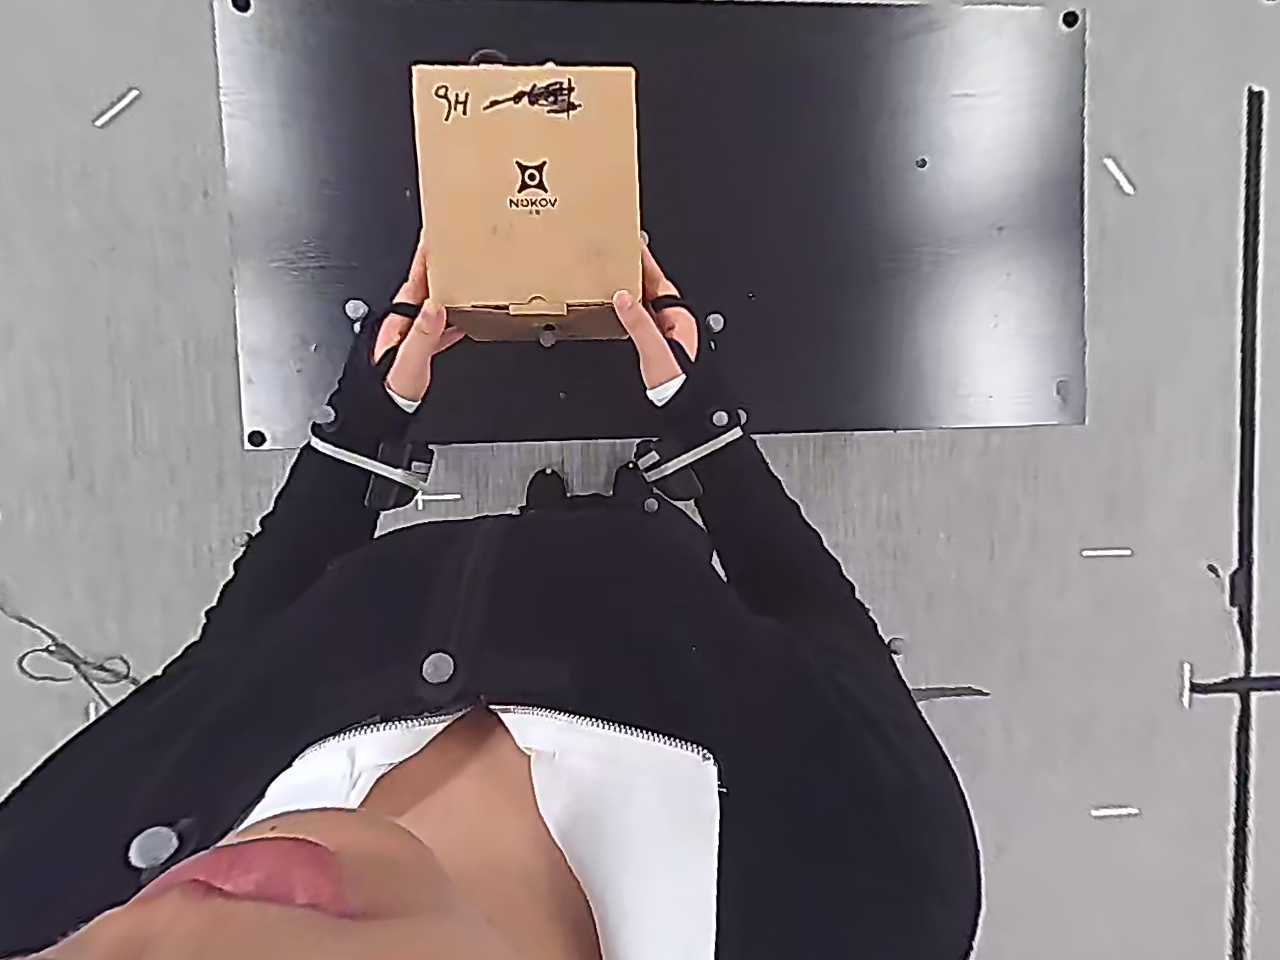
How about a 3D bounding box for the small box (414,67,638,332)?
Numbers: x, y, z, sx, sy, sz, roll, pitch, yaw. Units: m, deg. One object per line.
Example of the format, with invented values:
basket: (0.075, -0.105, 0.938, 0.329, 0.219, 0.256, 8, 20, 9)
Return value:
small box: (-0.088, -0.233, 0.494, 0.168, 0.176, 0.179, -3, 97, -4)
